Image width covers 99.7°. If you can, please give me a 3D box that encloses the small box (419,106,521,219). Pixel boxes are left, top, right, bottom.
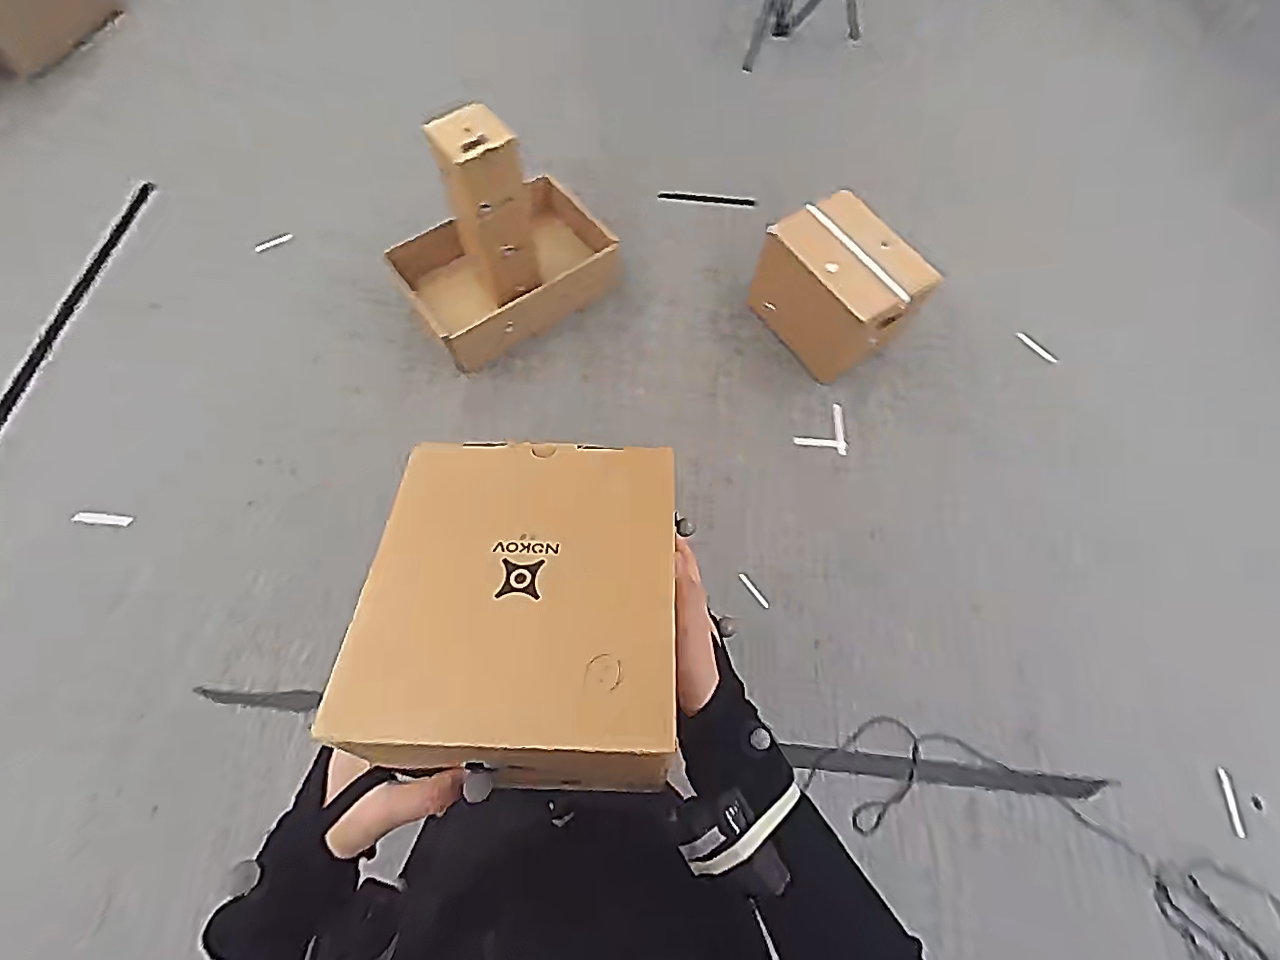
[{"bbox_3d":[-0.430,-0.809,1.397,0.168,0.176,0.179,-36,71,-16],"label":"small box"}]

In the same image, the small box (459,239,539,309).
[{"bbox_3d":[-0.437,-0.674,1.695,0.168,0.176,0.179,-33,72,-15],"label":"small box"}]

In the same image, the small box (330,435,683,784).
[{"bbox_3d":[-0.058,0.092,0.358,0.168,0.176,0.179,2,53,1],"label":"small box"}]

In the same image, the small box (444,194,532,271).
[{"bbox_3d":[-0.431,-0.741,1.547,0.168,0.176,0.179,-35,73,-15],"label":"small box"}]
